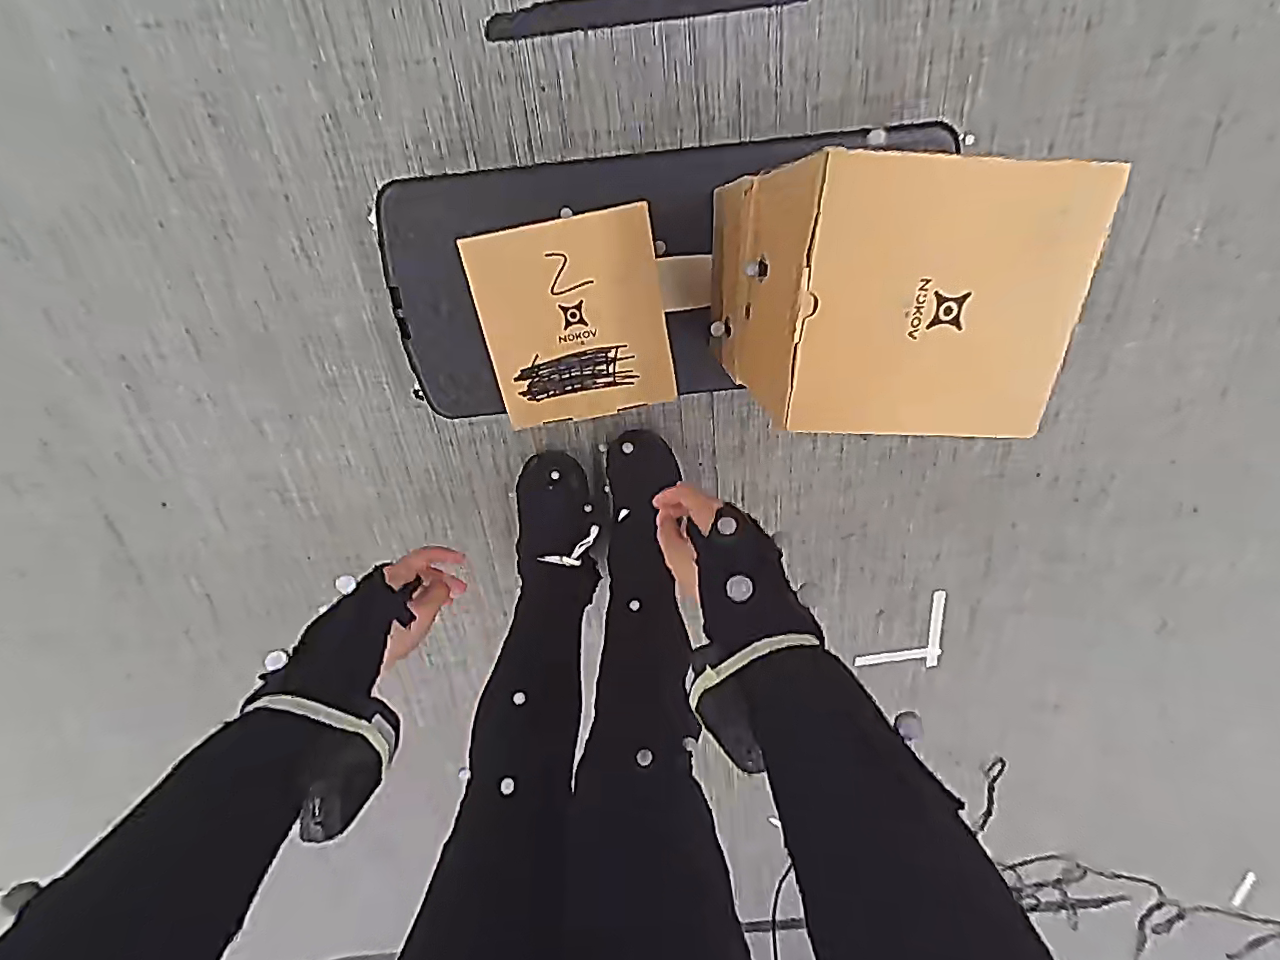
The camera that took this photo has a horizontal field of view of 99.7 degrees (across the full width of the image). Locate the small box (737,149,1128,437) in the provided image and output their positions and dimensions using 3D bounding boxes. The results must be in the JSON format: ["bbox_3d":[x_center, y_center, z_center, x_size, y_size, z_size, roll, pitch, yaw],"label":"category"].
[{"bbox_3d":[0.181,-0.140,0.403,0.179,0.176,0.168,1,115,-2],"label":"small box"}]

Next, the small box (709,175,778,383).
[{"bbox_3d":[0.164,-0.206,0.551,0.168,0.176,0.179,-2,114,-1],"label":"small box"}]
